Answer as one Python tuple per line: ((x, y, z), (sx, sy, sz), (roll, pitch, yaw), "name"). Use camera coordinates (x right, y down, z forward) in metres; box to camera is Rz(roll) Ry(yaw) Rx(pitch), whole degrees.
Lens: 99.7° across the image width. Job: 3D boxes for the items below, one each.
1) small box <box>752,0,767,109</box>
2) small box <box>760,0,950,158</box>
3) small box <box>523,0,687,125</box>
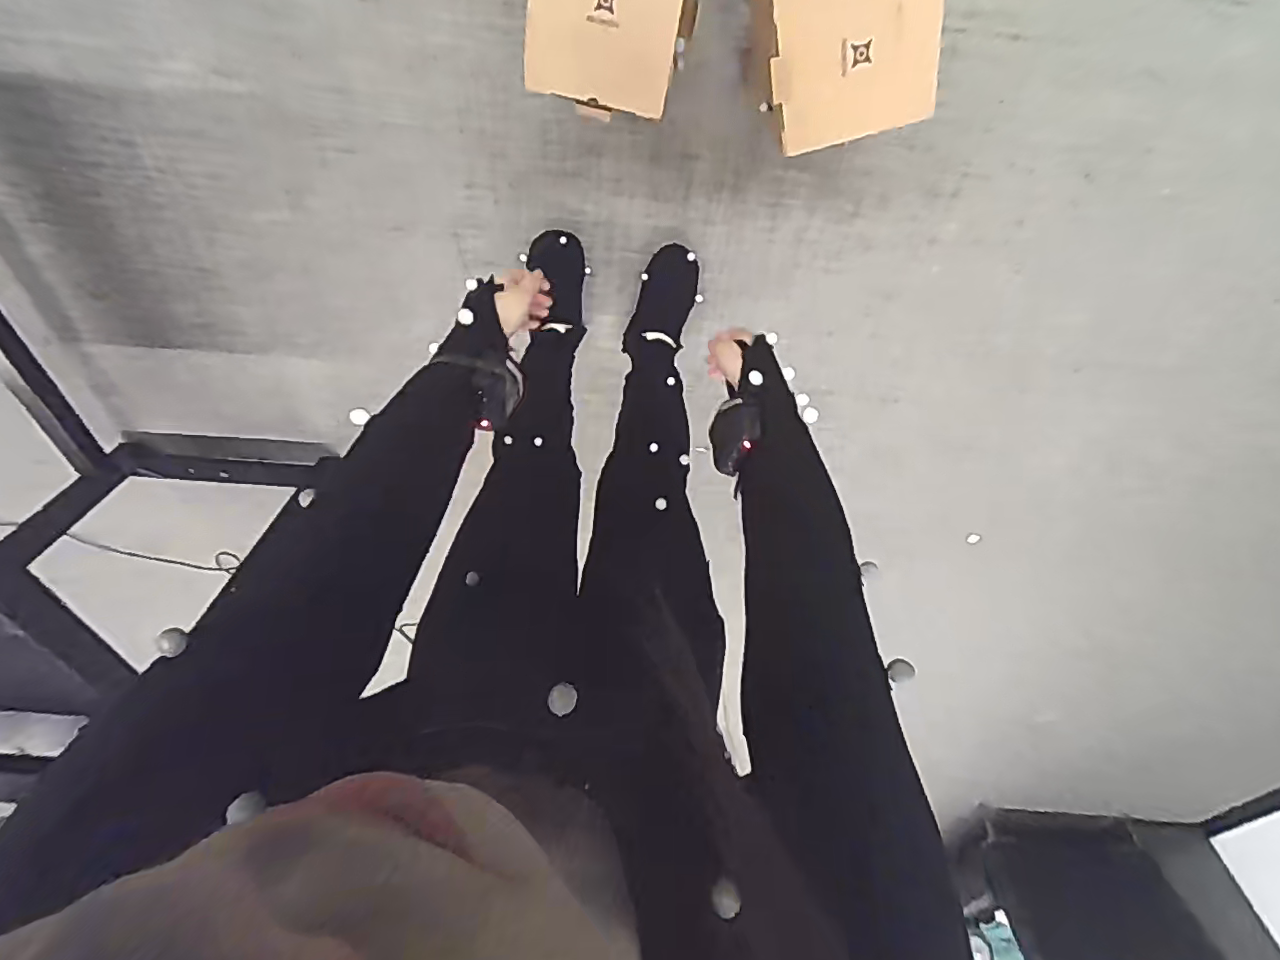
((0.258, -0.630, 0.758), (0.179, 0.176, 0.168), (-1, 132, 3), "small box")
((0.243, -0.515, 0.644), (0.179, 0.176, 0.168), (-11, 132, 11), "small box")
((-0.033, -0.546, 0.628), (0.168, 0.176, 0.179), (10, 132, -5), "small box")
